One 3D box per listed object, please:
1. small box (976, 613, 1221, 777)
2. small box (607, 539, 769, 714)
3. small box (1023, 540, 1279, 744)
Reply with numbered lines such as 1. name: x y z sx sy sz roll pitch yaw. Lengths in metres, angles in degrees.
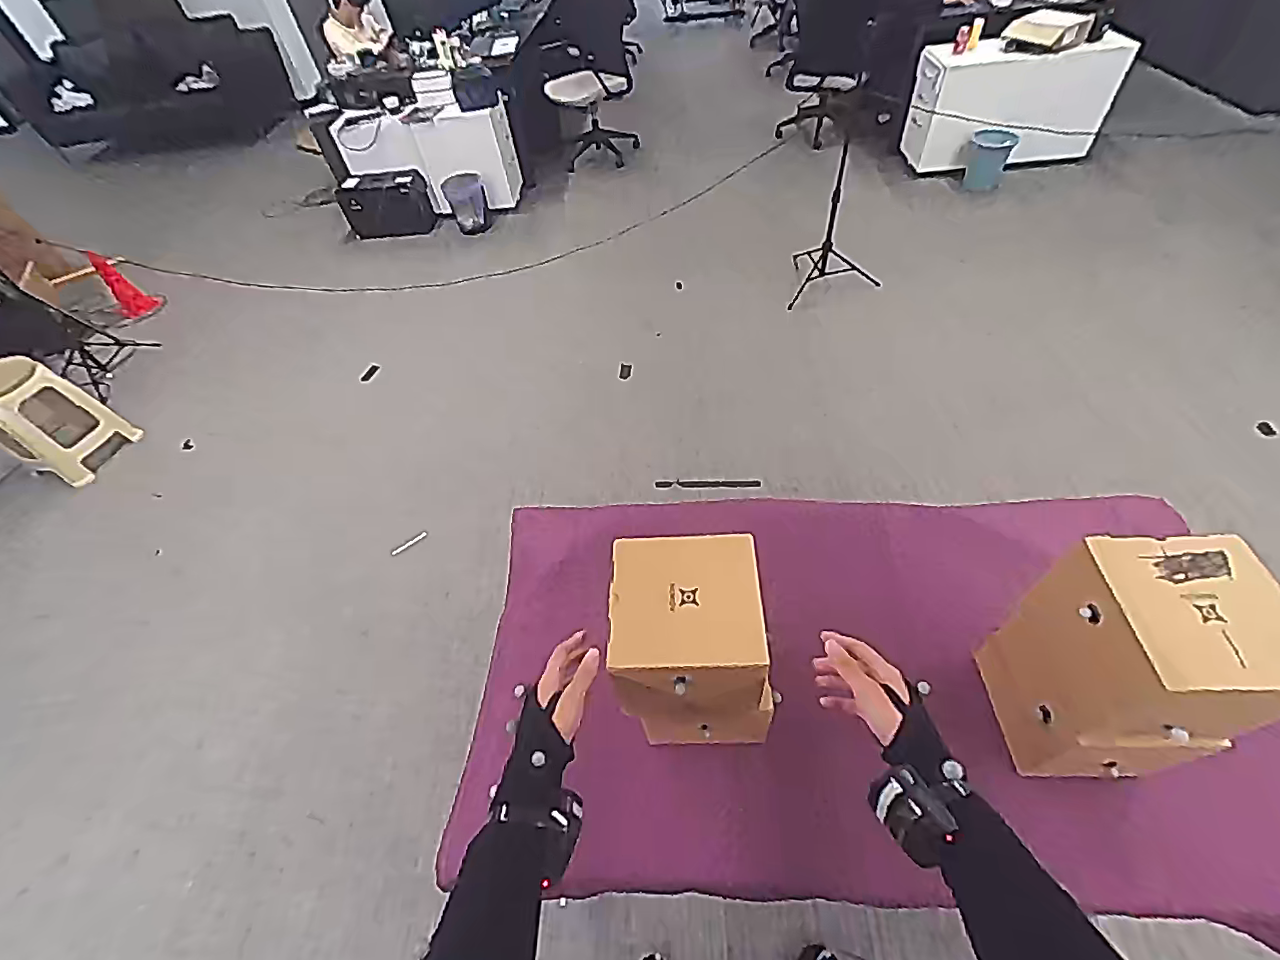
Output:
1. small box: 0.603 0.298 0.745 0.168 0.176 0.179 -2 51 5
2. small box: 0.061 0.190 0.688 0.179 0.176 0.168 -4 51 6
3. small box: 0.589 0.187 0.624 0.168 0.176 0.179 -2 51 6
